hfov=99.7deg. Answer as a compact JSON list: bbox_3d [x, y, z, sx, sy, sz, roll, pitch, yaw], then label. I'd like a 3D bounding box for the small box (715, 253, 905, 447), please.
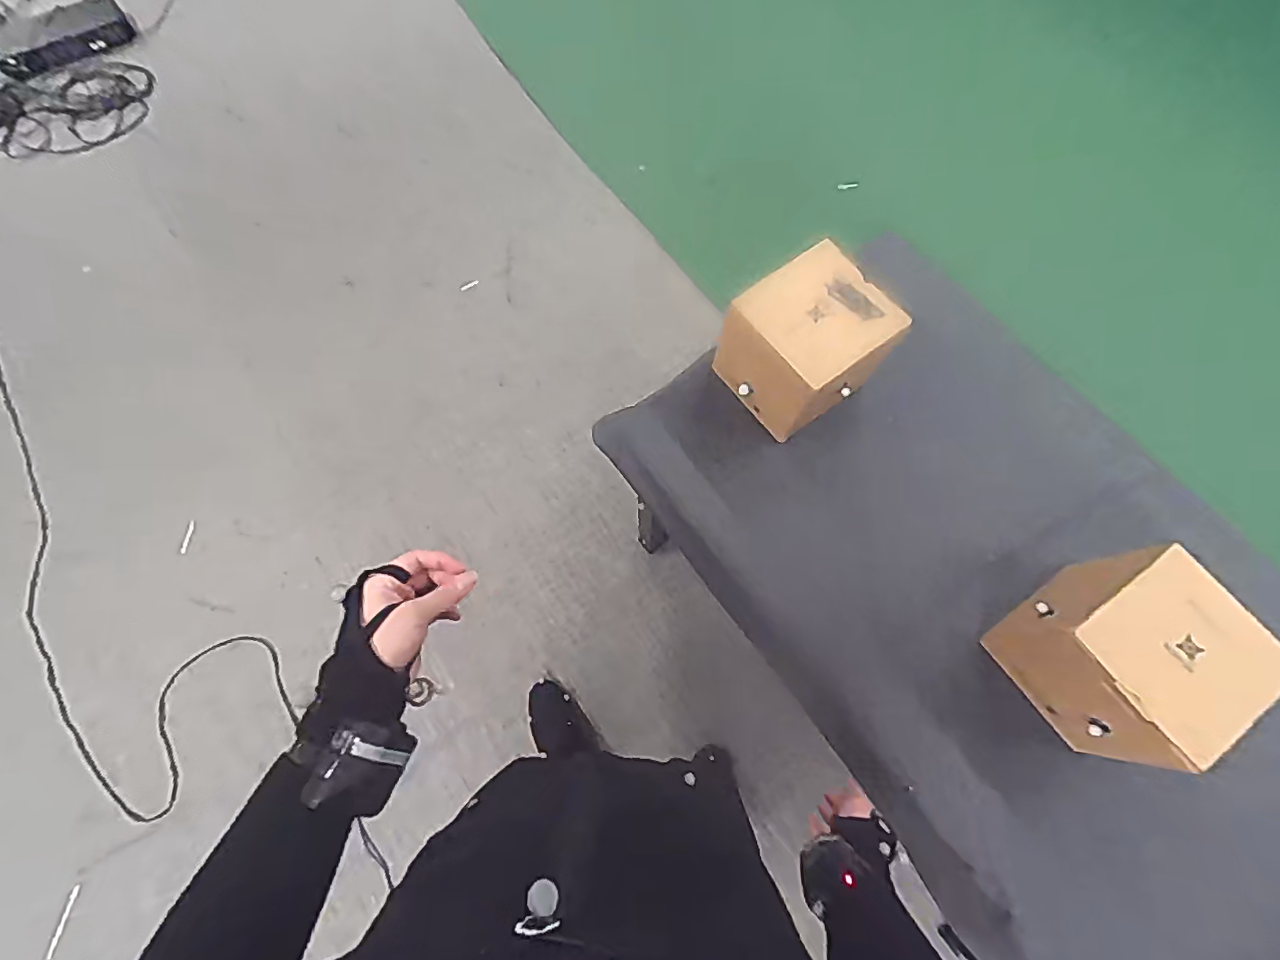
[{"bbox_3d":[0.229,-0.179,0.782,0.179,0.176,0.168,-35,75,-12],"label":"small box"}]

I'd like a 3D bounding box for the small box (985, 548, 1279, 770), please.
[{"bbox_3d":[0.566,0.212,0.655,0.179,0.176,0.168,-34,76,-12],"label":"small box"}]
